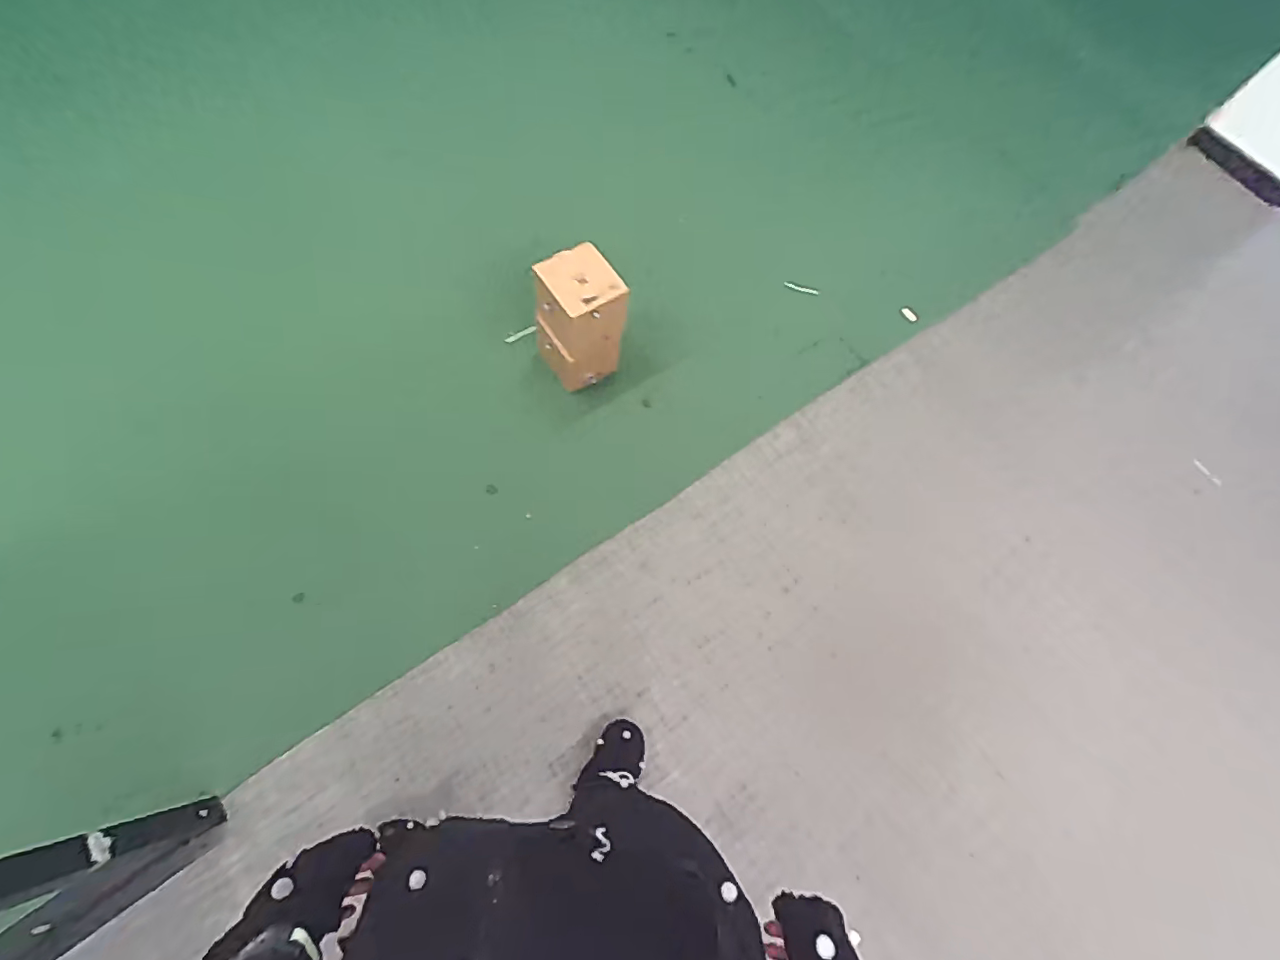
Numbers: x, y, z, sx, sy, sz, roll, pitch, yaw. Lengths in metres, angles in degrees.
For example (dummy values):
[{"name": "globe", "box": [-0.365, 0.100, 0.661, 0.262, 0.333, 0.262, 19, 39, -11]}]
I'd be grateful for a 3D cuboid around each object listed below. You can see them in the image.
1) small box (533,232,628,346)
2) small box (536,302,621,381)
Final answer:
[{"name": "small box", "box": [-0.151, -0.475, 1.360, 0.168, 0.176, 0.179, -32, 76, -16]}, {"name": "small box", "box": [-0.174, -0.410, 1.509, 0.168, 0.176, 0.179, -32, 78, -16]}]
